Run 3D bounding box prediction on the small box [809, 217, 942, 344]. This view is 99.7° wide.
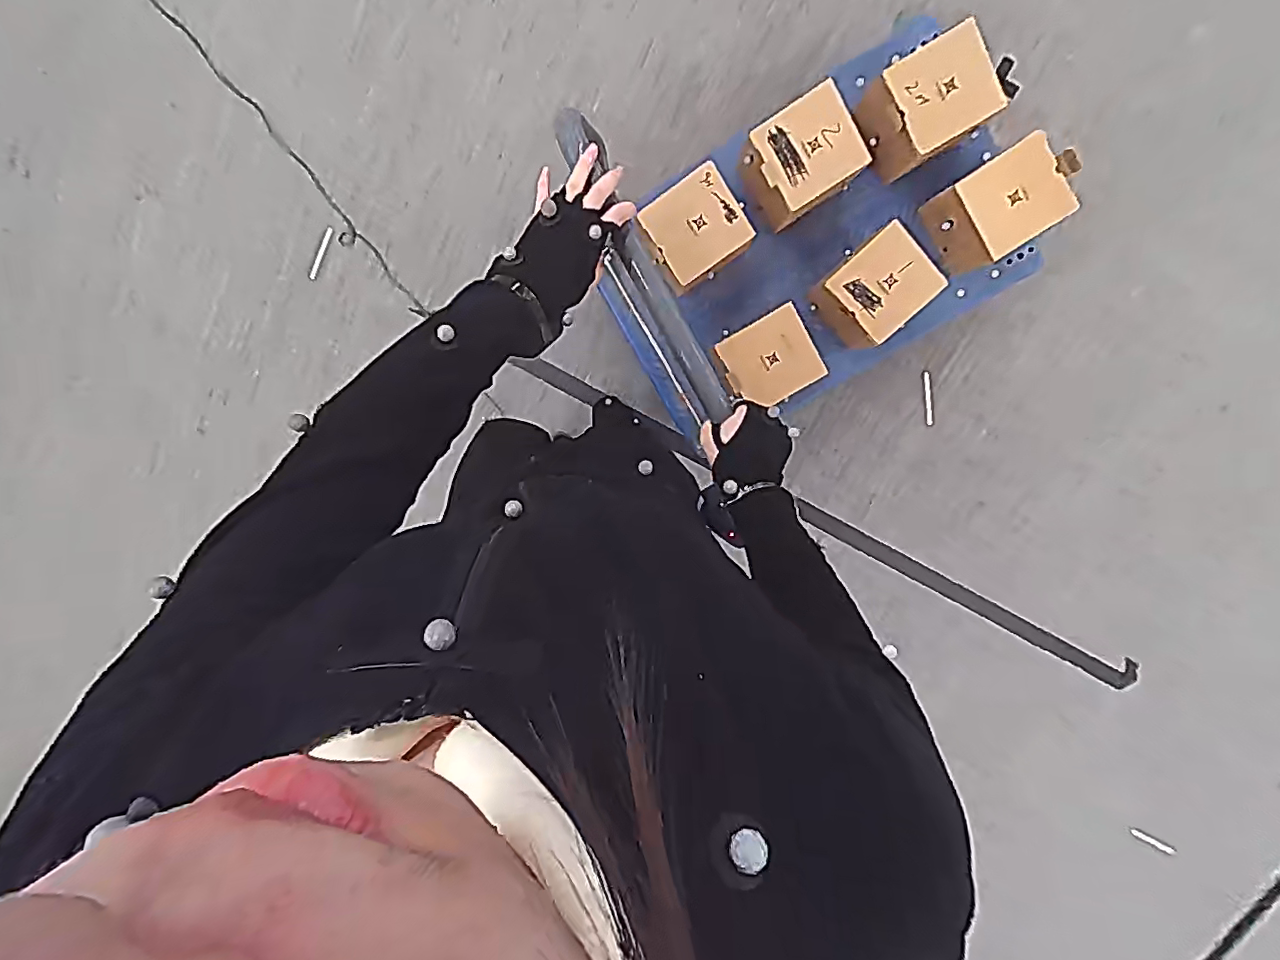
[{"bbox_3d":[0.477,-0.403,1.133,0.179,0.176,0.168,-42,97,8],"label":"small box"}]

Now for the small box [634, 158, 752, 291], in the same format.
[{"bbox_3d":[0.107,-0.515,1.121,0.179,0.176,0.168,-33,100,8],"label":"small box"}]

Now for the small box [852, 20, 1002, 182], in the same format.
[{"bbox_3d":[0.553,-0.731,1.064,0.179,0.176,0.168,-28,99,8],"label":"small box"}]

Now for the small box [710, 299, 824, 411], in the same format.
[{"bbox_3d":[0.263,-0.264,1.169,0.179,0.176,0.168,-29,100,7],"label":"small box"}]

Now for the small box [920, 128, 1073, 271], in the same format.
[{"bbox_3d":[0.703,-0.552,1.095,0.179,0.176,0.168,-33,98,8],"label":"small box"}]
